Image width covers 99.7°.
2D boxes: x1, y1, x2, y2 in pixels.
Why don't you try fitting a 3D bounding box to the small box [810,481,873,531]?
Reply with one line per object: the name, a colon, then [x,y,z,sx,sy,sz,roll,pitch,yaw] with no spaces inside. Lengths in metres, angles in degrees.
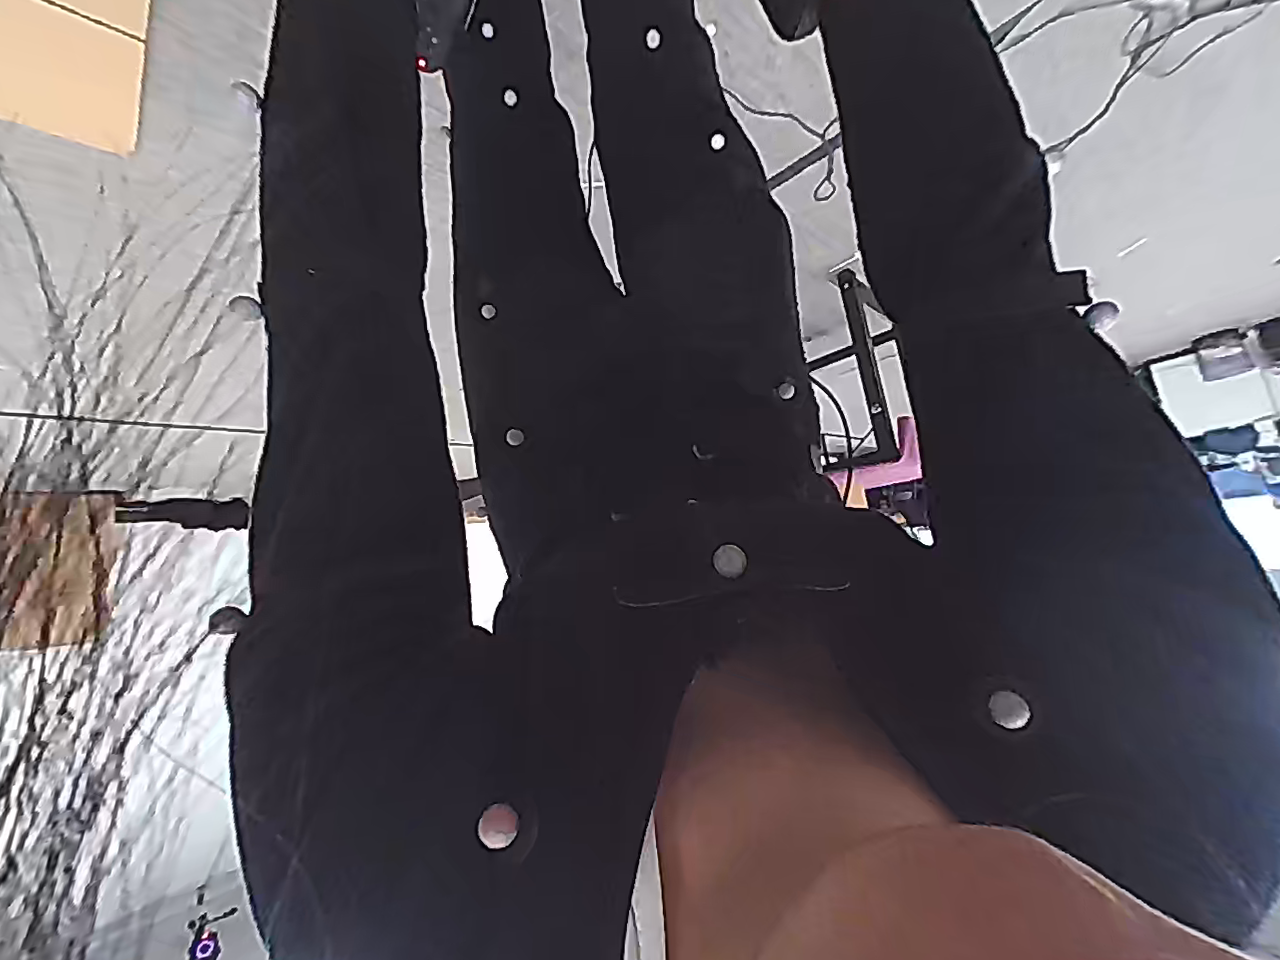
small box: [0.810,0.104,2.183,0.168,0.176,0.179,-18,167,42]
